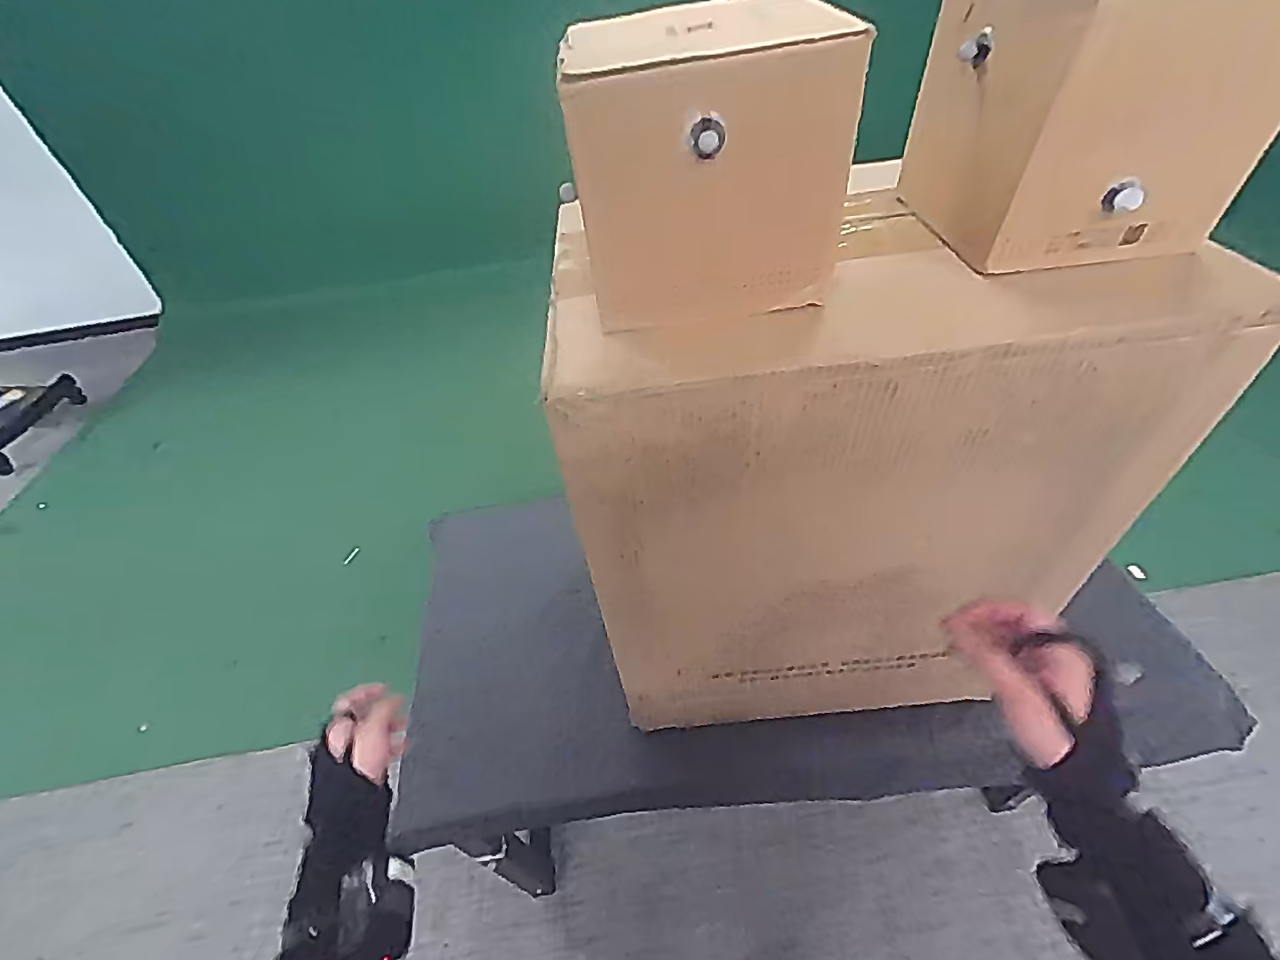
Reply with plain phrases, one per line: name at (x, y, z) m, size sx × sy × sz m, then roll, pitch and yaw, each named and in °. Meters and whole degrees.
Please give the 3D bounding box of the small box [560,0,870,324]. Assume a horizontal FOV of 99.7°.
small box at (0.044, -0.234, 0.409) m, size 0.179 × 0.176 × 0.168 m, roll -6°, pitch 49°, yaw 1°

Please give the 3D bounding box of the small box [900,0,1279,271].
small box at (0.328, -0.281, 0.413) m, size 0.168 × 0.176 × 0.179 m, roll -5°, pitch 48°, yaw 0°
